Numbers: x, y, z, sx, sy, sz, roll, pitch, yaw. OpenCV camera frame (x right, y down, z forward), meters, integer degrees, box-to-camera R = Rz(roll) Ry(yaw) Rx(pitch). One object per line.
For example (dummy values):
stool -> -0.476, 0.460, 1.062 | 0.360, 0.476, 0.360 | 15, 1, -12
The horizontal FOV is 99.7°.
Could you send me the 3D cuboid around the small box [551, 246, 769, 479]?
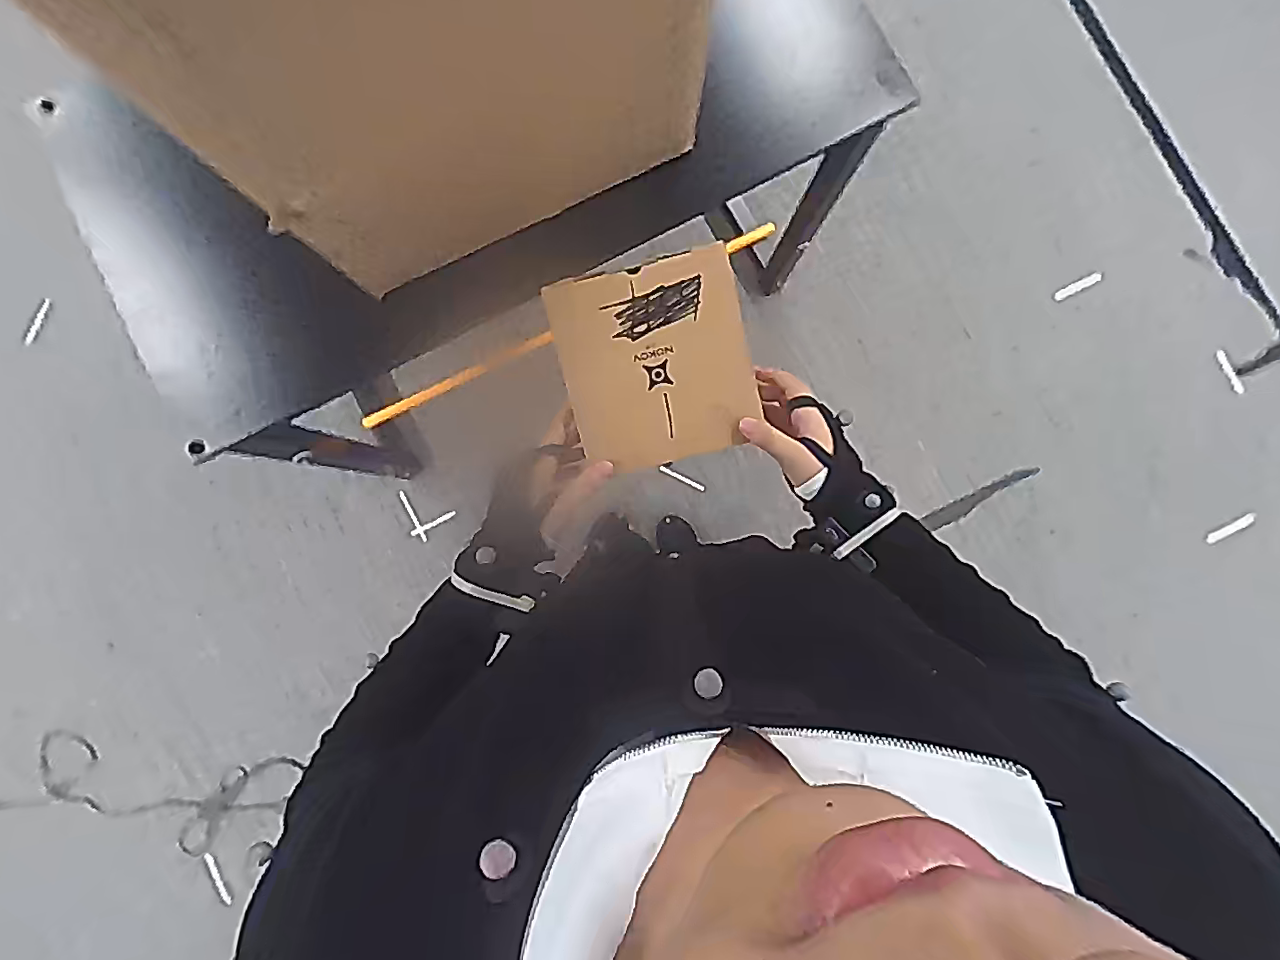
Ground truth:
small box -> 0.016, -0.111, 0.552 | 0.168, 0.176, 0.179 | -13, 98, 1
